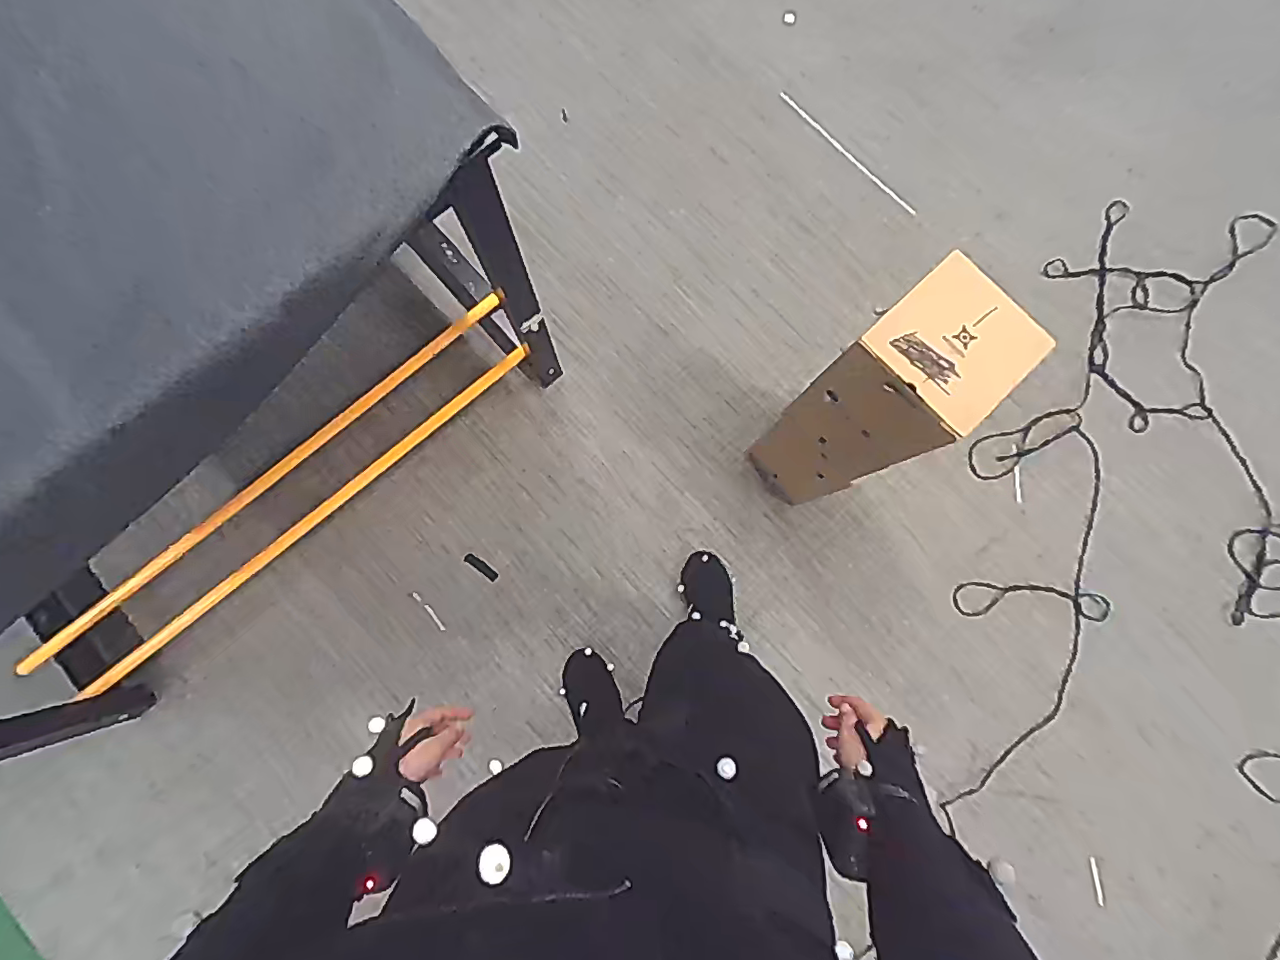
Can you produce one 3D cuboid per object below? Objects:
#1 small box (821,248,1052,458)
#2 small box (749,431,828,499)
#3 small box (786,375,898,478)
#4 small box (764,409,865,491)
[{"bbox_3d":[0.364,-0.151,0.707,0.179,0.176,0.168,-42,85,-8],"label":"small box"},{"bbox_3d":[0.369,-0.070,1.192,0.168,0.176,0.179,-39,85,-7],"label":"small box"},{"bbox_3d":[0.367,-0.125,0.869,0.179,0.176,0.168,-40,84,-7],"label":"small box"},{"bbox_3d":[0.368,-0.095,1.031,0.168,0.176,0.179,-42,84,-8],"label":"small box"}]
